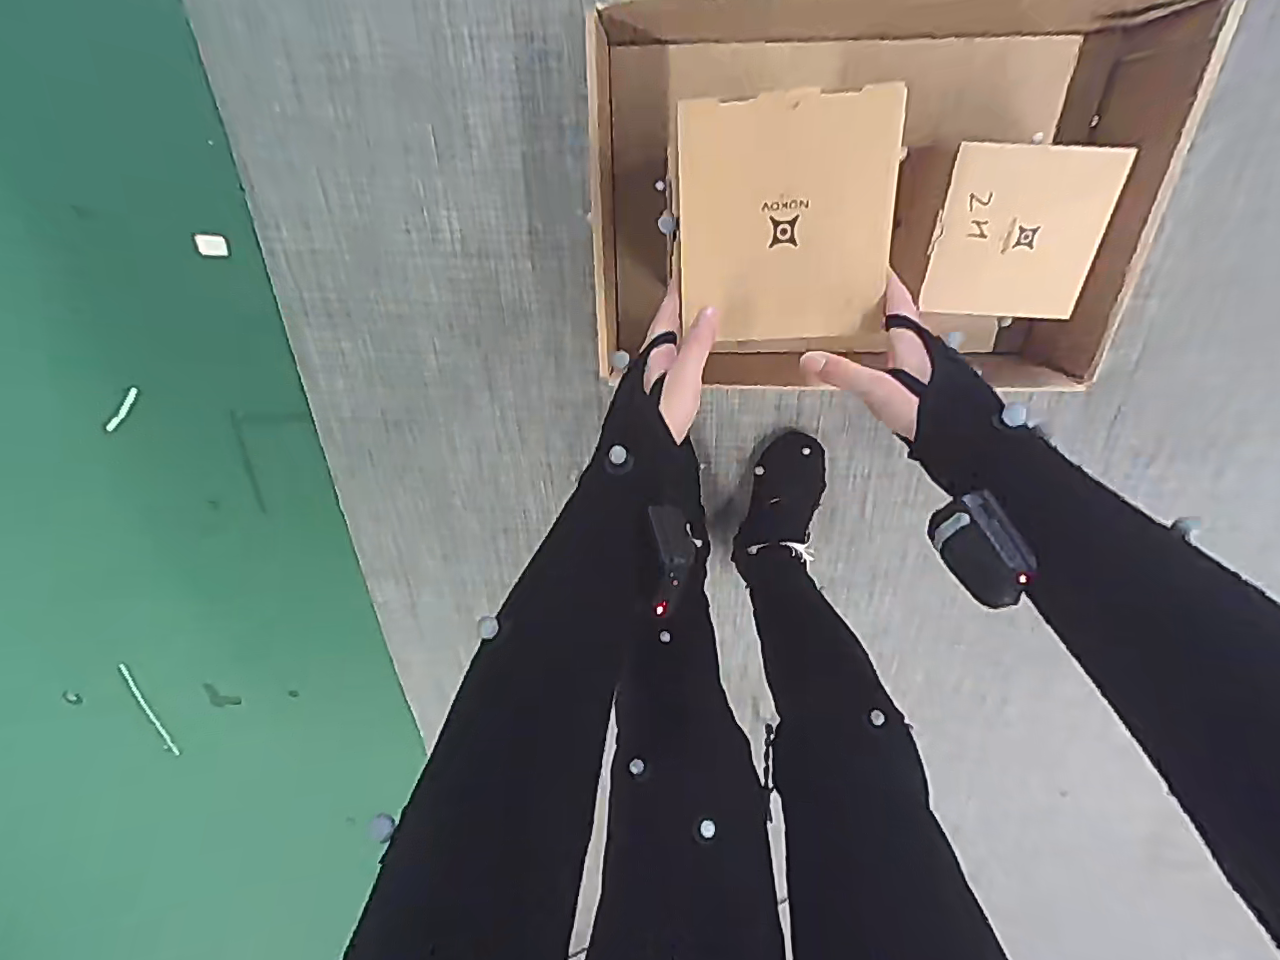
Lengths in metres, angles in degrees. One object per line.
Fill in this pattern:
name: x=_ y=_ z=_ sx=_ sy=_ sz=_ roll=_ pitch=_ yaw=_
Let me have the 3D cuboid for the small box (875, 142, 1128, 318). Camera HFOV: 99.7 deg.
small box: x=0.397 y=-0.296 z=0.641 sx=0.179 sy=0.176 sz=0.168 roll=3 pitch=117 yaw=2

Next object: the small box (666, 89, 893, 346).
small box: x=0.112 y=-0.225 z=0.497 sx=0.168 sy=0.176 sz=0.179 roll=-2 pitch=109 yaw=5
